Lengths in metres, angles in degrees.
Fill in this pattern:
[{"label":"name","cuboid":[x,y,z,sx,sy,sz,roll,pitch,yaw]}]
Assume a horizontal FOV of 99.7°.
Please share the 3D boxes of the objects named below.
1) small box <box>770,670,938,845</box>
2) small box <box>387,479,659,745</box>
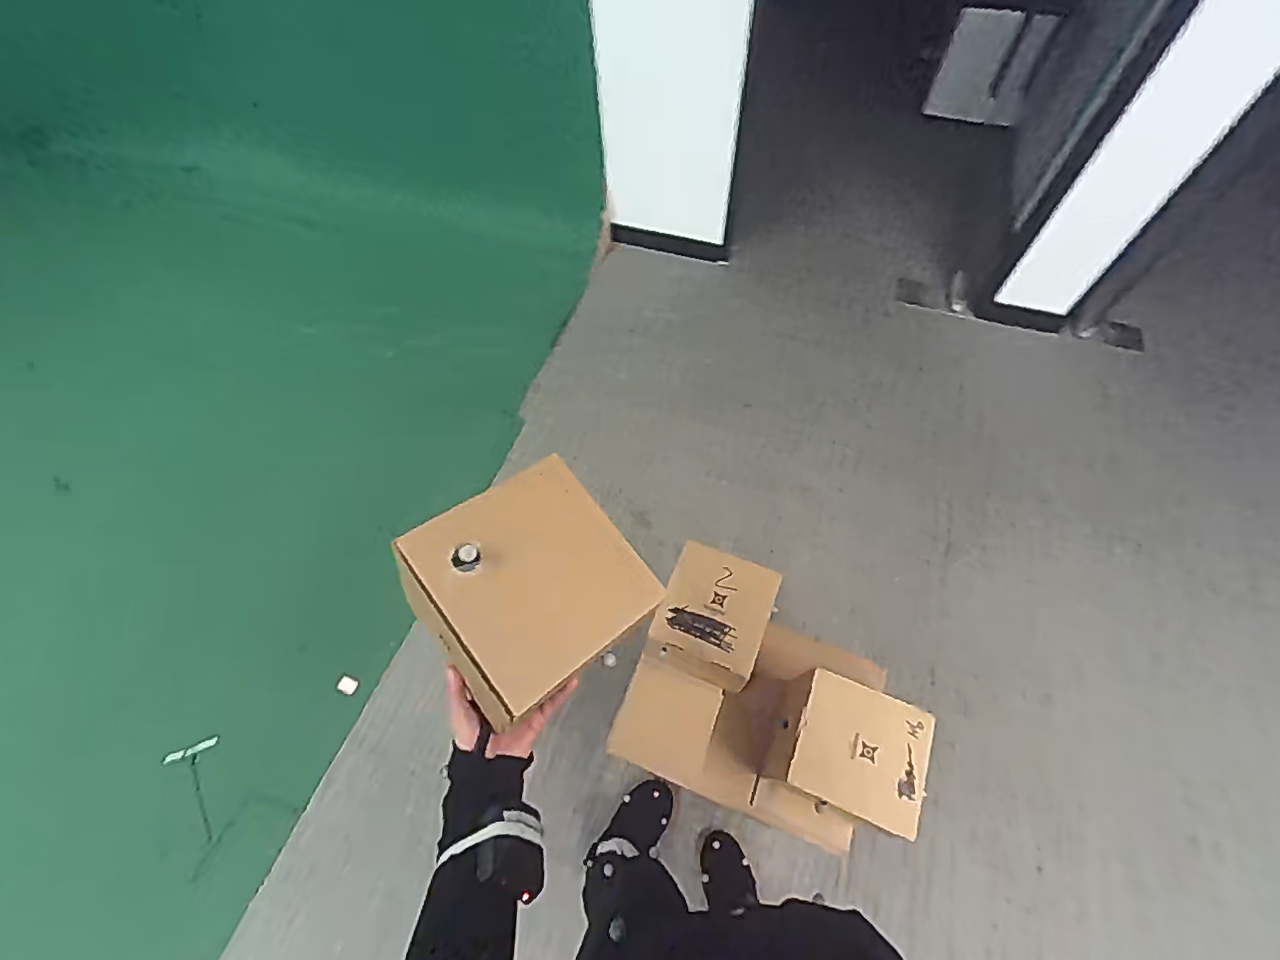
[{"label":"small box","cuboid":[0.308,0.411,0.809,0.179,0.176,0.168,20,65,13]},{"label":"small box","cuboid":[-0.113,0.121,0.523,0.176,0.168,0.179,-34,76,-30]}]
